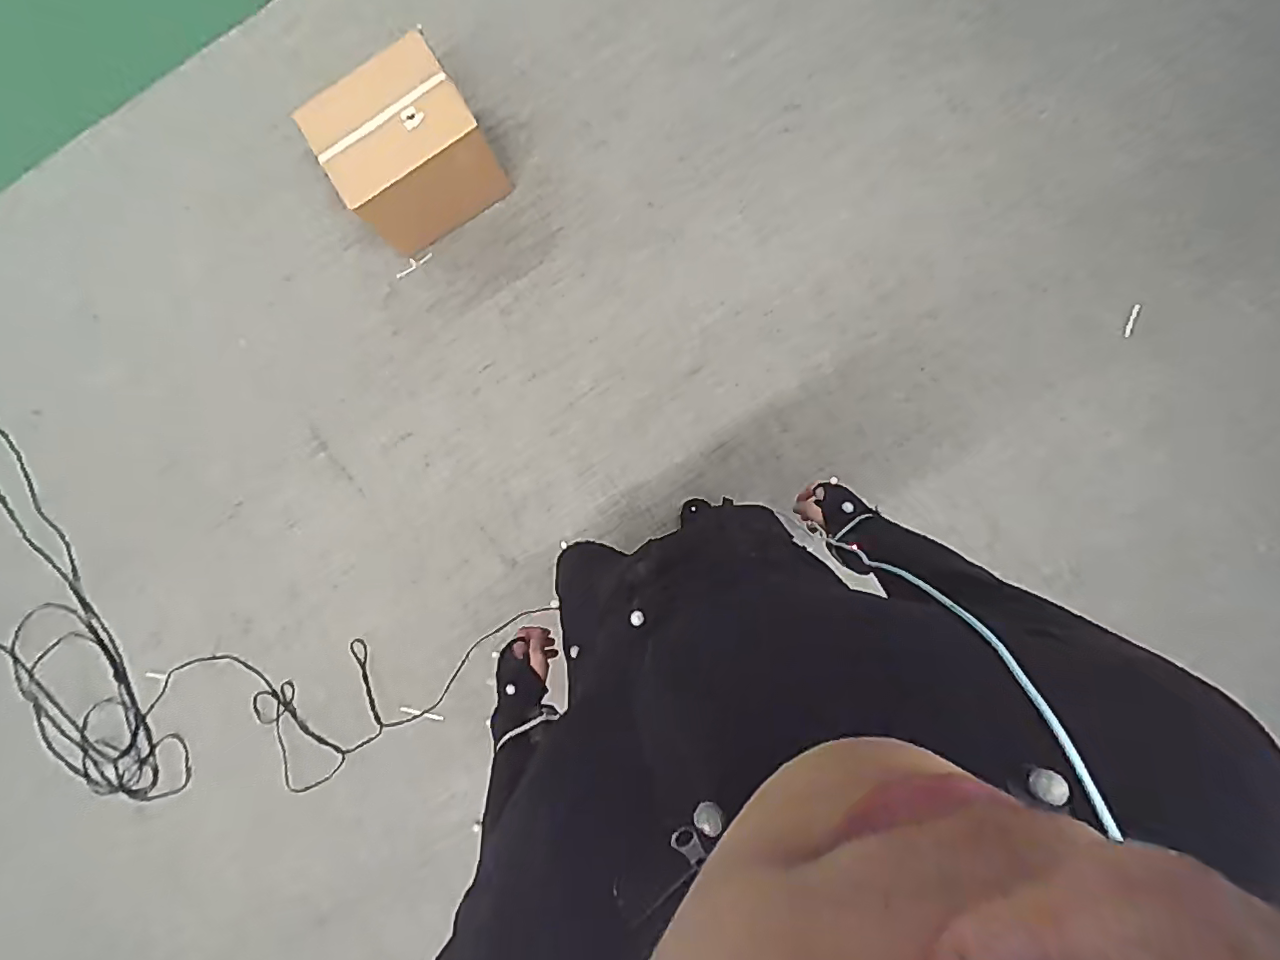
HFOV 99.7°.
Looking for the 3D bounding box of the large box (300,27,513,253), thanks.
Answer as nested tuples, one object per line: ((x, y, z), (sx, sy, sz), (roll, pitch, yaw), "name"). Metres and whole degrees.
((-0.646, -0.943, 1.553), (0.408, 0.320, 0.320), (-31, 88, 3), "large box")
